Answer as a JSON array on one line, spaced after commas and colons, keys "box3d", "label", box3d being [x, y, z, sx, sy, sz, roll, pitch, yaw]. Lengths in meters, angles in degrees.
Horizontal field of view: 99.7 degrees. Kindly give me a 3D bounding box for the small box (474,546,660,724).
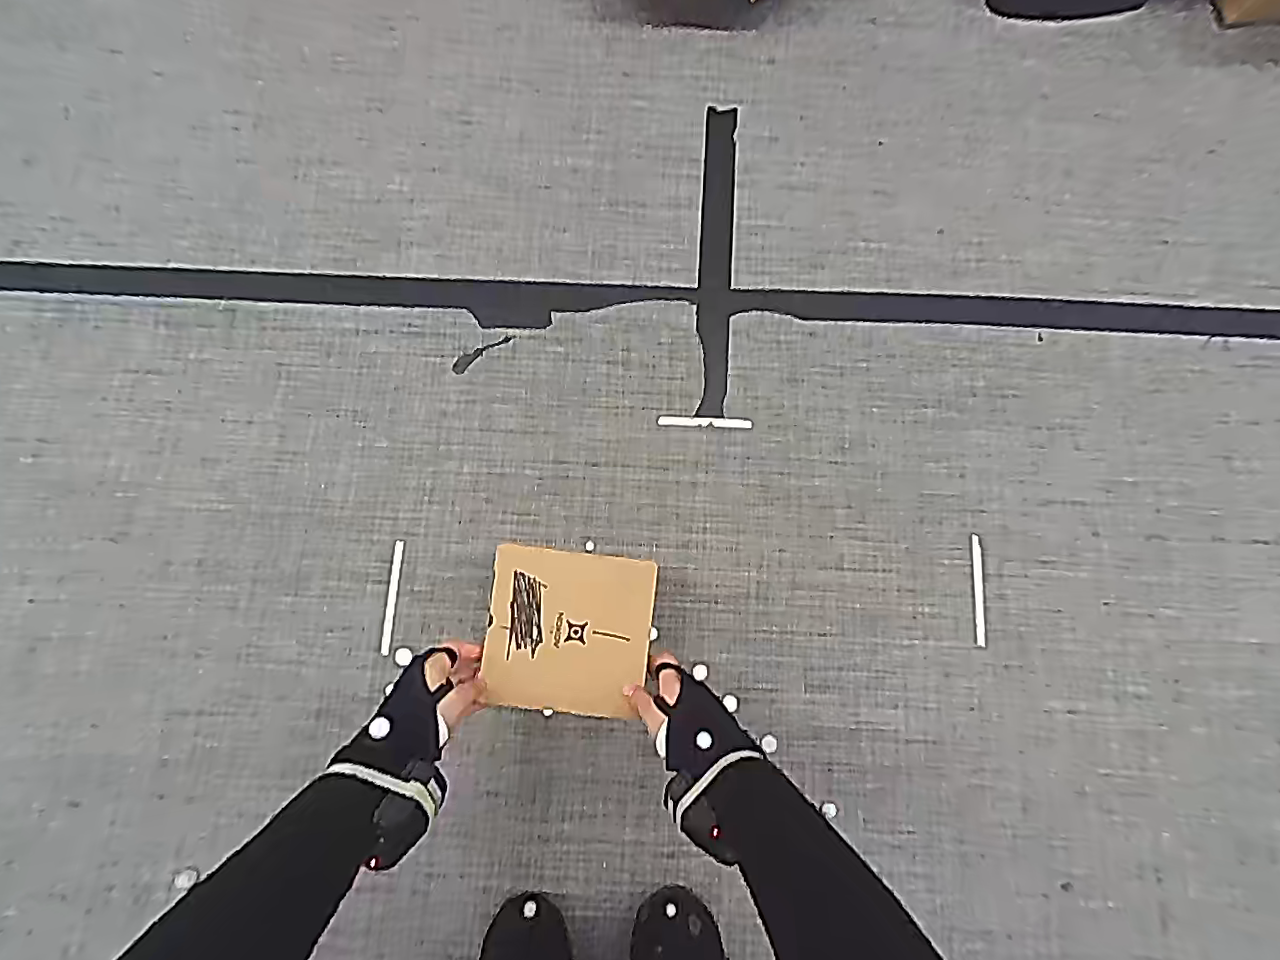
[{"box3d": [-0.077, 0.175, 0.644, 0.179, 0.176, 0.168, 7, 80, -2], "label": "small box"}]
